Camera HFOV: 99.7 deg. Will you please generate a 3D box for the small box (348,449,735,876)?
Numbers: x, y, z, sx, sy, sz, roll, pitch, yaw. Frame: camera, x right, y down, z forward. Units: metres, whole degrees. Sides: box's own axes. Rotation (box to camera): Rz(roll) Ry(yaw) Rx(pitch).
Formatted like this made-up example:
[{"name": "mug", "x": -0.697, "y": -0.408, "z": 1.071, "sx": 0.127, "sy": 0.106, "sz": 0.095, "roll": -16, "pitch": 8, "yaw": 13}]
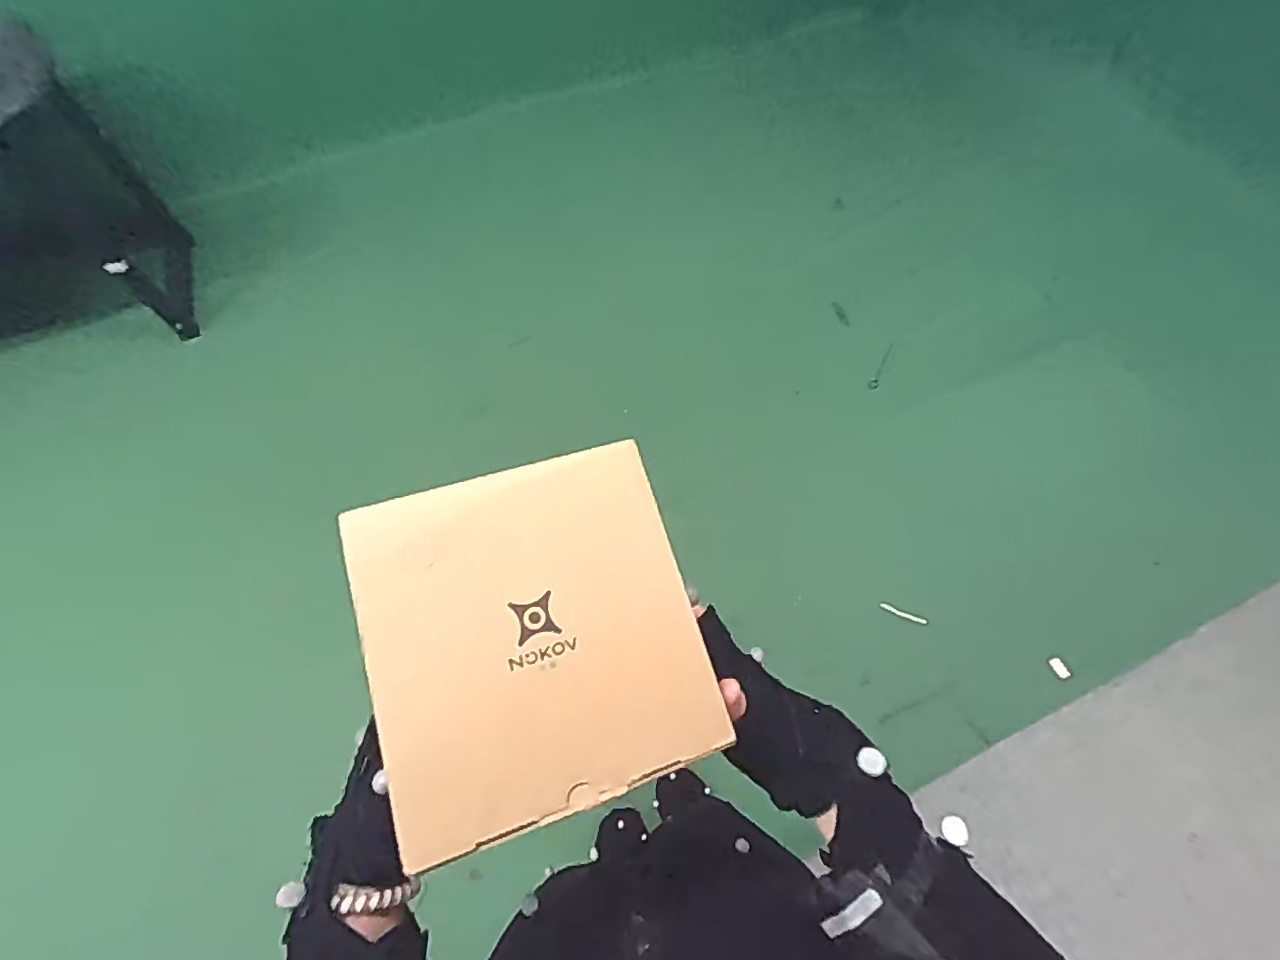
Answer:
[{"name": "small box", "x": -0.065, "y": 0.104, "z": 0.356, "sx": 0.168, "sy": 0.176, "sz": 0.179, "roll": -16, "pitch": 76, "yaw": -14}]
